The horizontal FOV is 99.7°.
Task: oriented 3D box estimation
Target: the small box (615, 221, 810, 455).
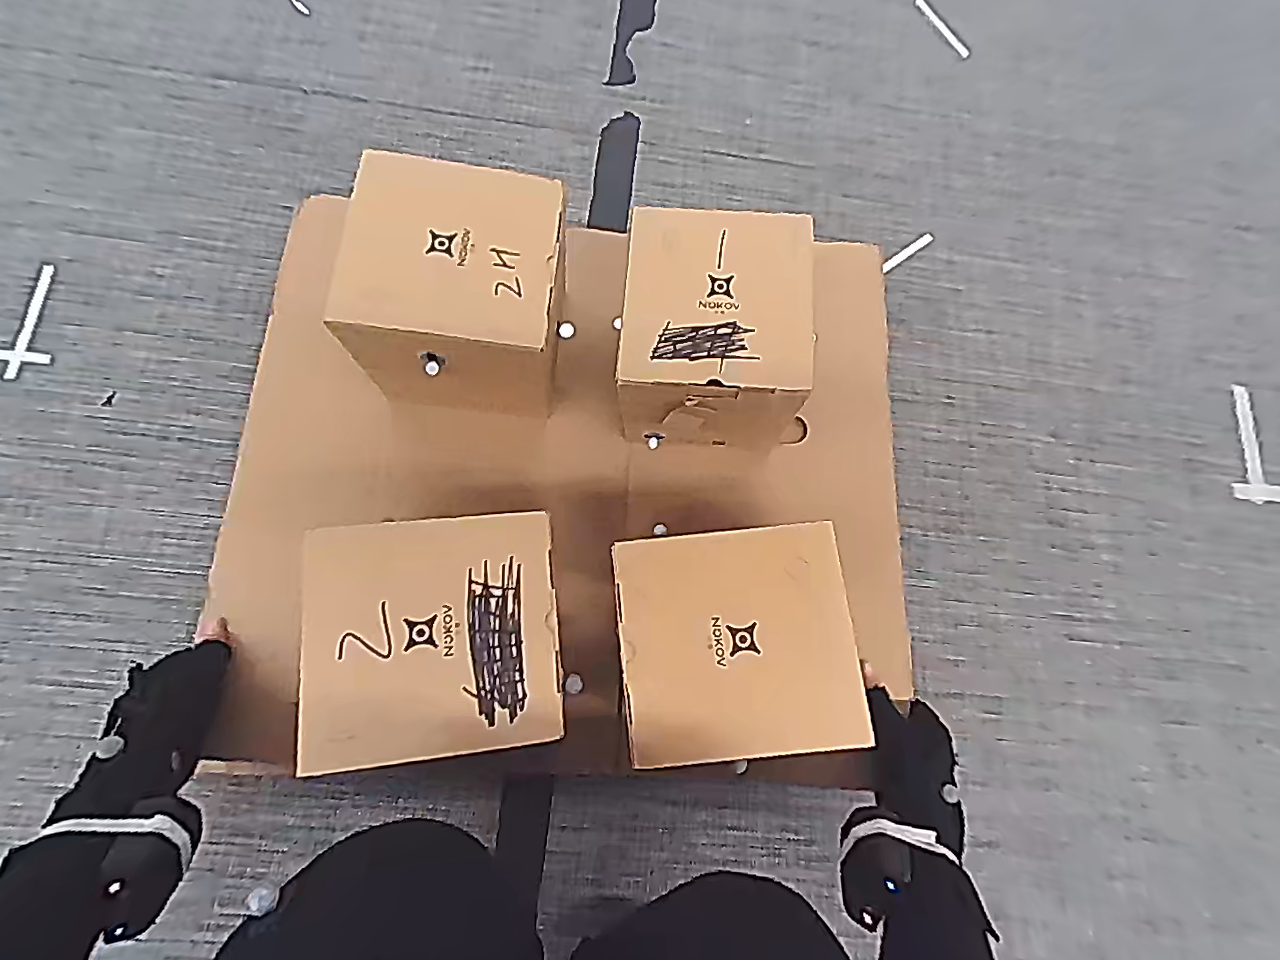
[{"bbox_3d":[0.071,-0.133,0.560,0.168,0.176,0.179,5,75,3],"label":"small box"}]
